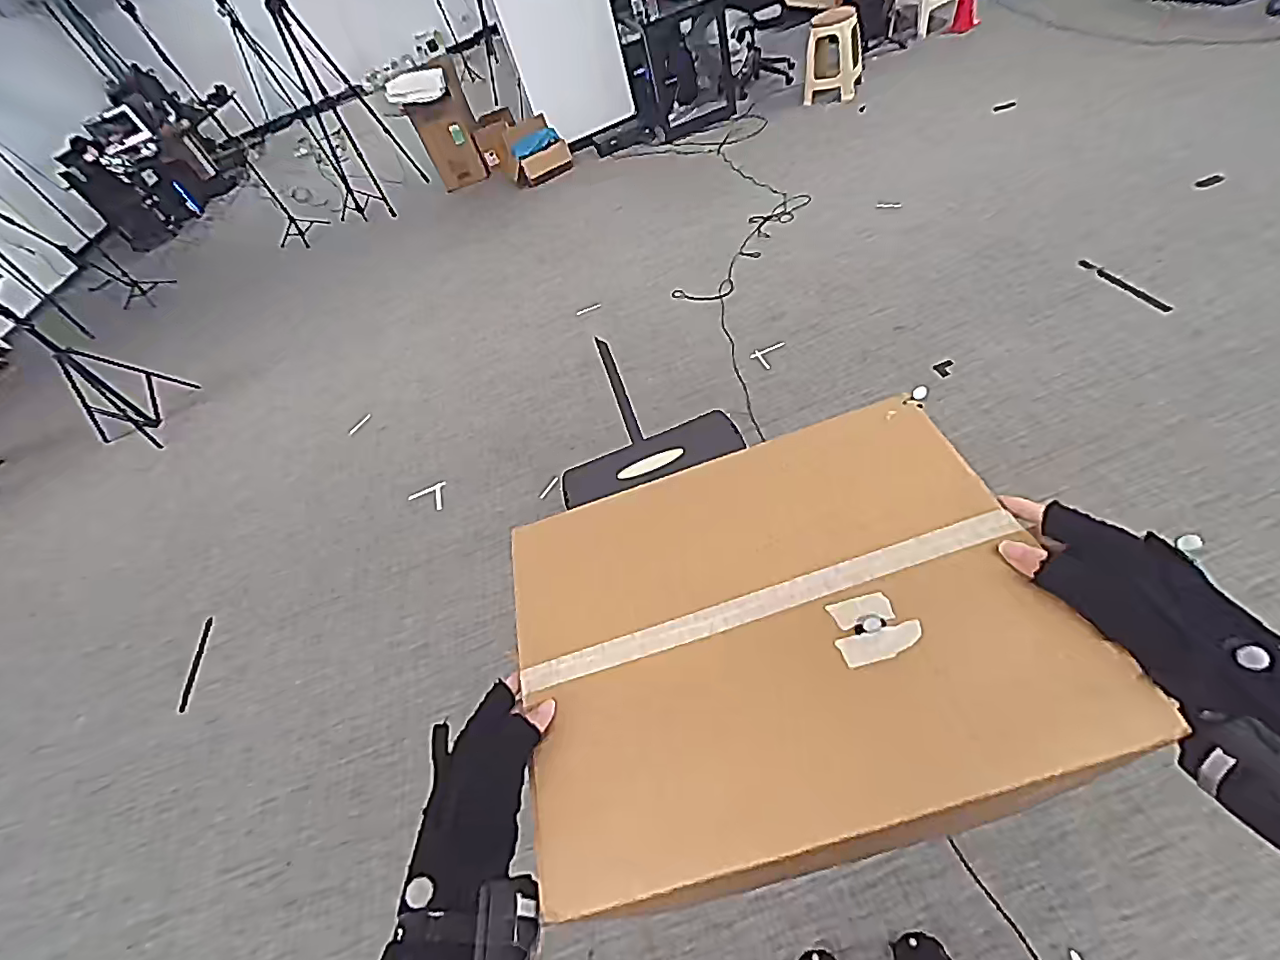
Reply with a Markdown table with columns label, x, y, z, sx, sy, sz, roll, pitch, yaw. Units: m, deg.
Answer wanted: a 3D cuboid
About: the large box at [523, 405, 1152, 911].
| label | x | y | z | sx | sy | sz | roll | pitch | yaw |
| --- | --- | --- | --- | --- | --- | --- | --- | --- | --- |
| large box | 0.137 | 0.192 | 0.551 | 0.408 | 0.320 | 0.320 | -19 | 50 | 3 |
